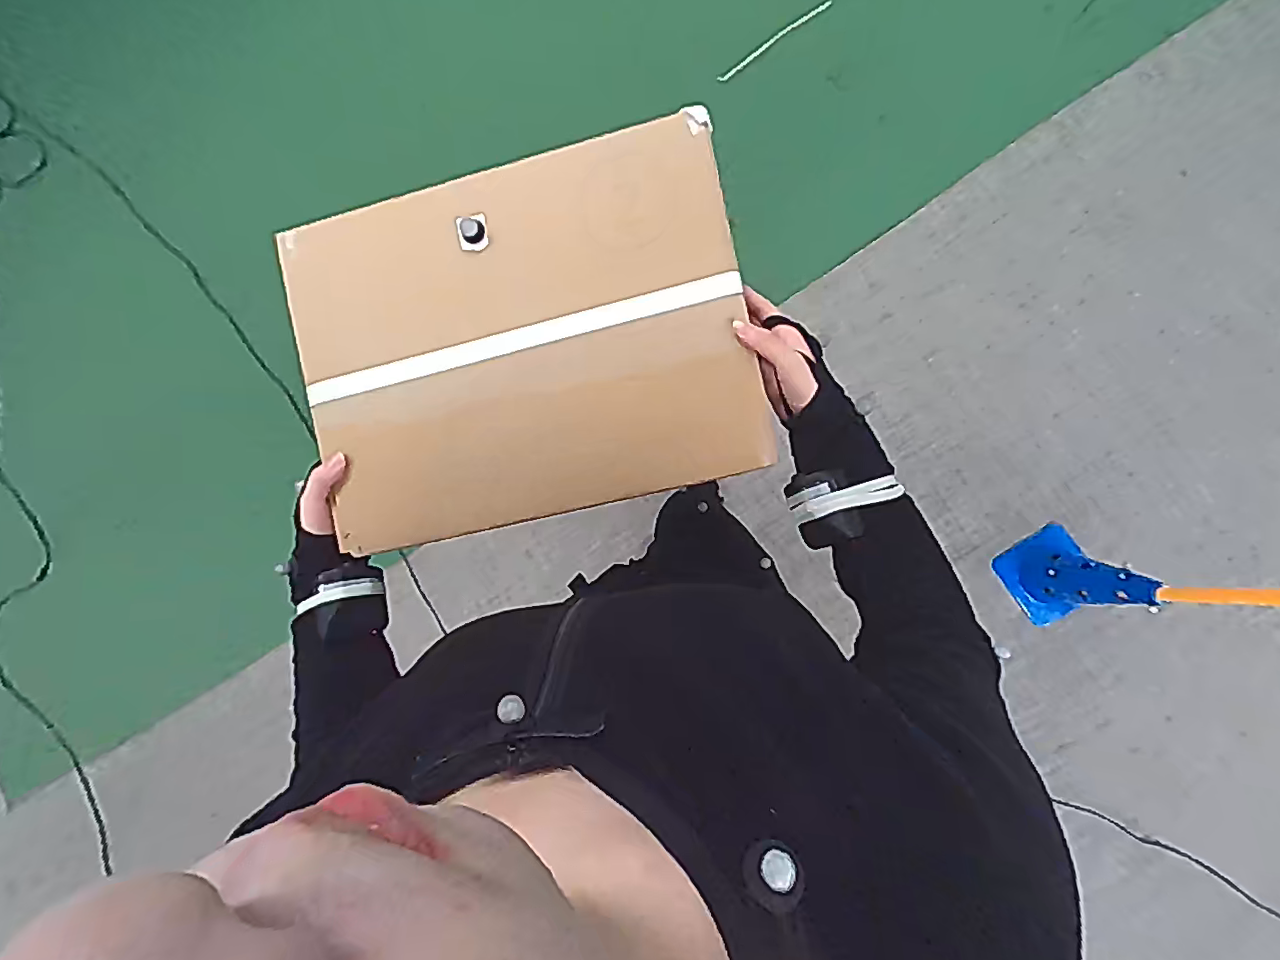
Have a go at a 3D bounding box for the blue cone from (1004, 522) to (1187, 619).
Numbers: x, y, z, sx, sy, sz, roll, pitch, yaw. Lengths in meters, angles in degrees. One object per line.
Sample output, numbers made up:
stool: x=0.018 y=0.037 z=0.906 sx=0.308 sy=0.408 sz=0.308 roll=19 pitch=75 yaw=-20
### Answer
blue cone: x=1.006 y=0.209 z=1.180 sx=0.193 sy=0.380 sz=0.192 roll=-36 pitch=83 yaw=3
